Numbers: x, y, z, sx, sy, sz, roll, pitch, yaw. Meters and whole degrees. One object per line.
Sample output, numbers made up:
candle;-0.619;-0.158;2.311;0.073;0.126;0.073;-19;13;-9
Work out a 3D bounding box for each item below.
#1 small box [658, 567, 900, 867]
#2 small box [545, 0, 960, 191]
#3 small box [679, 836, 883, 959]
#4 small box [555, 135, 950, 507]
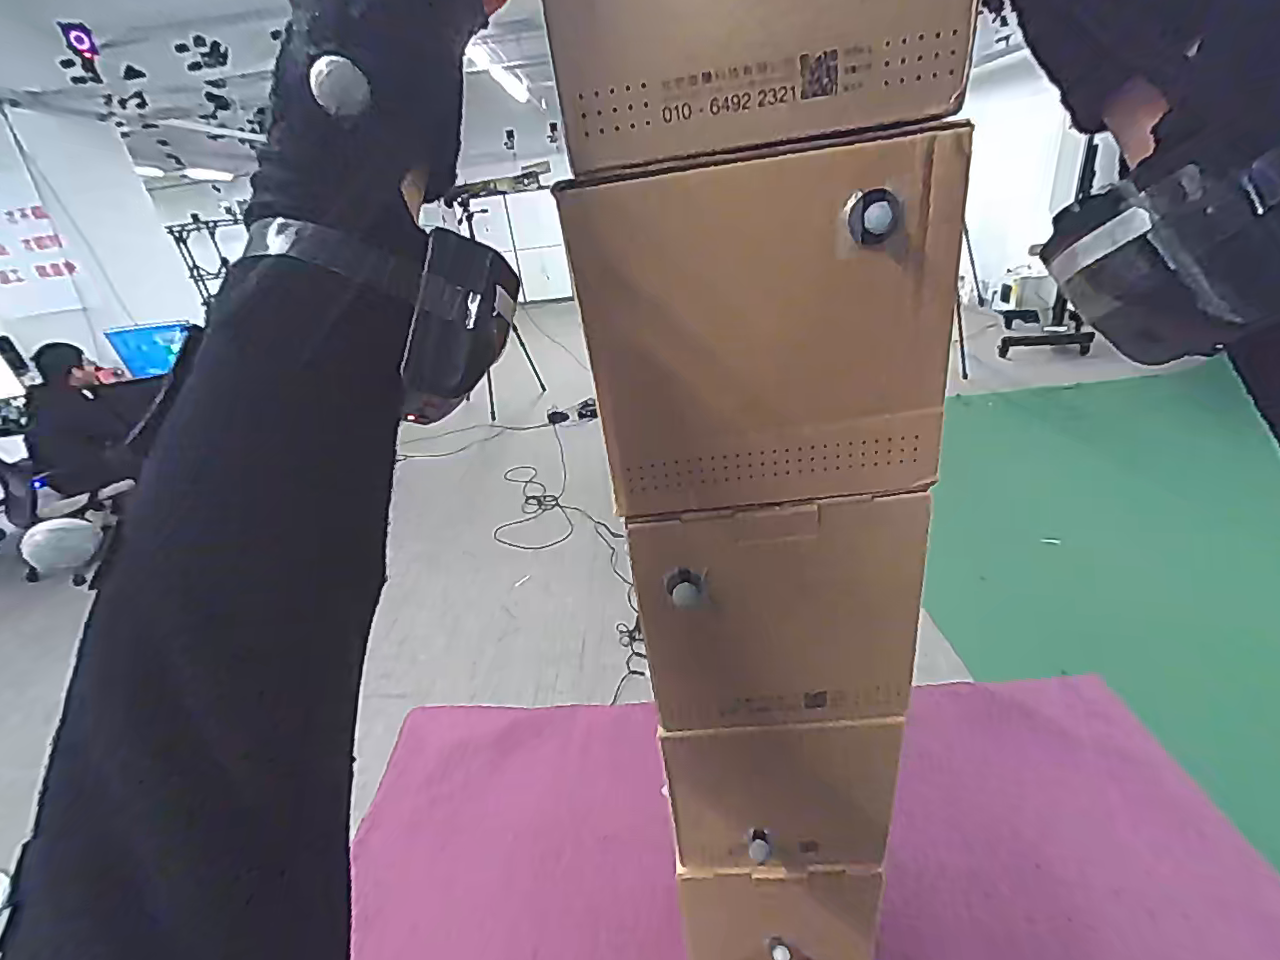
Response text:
small box;0.107;0.199;0.476;0.168;0.176;0.179;-6;27;6
small box;0.042;-0.245;0.277;0.168;0.176;0.179;-8;24;4
small box;0.127;0.345;0.545;0.168;0.176;0.179;-6;27;6
small box;0.062;-0.093;0.338;0.179;0.176;0.168;-6;25;6
